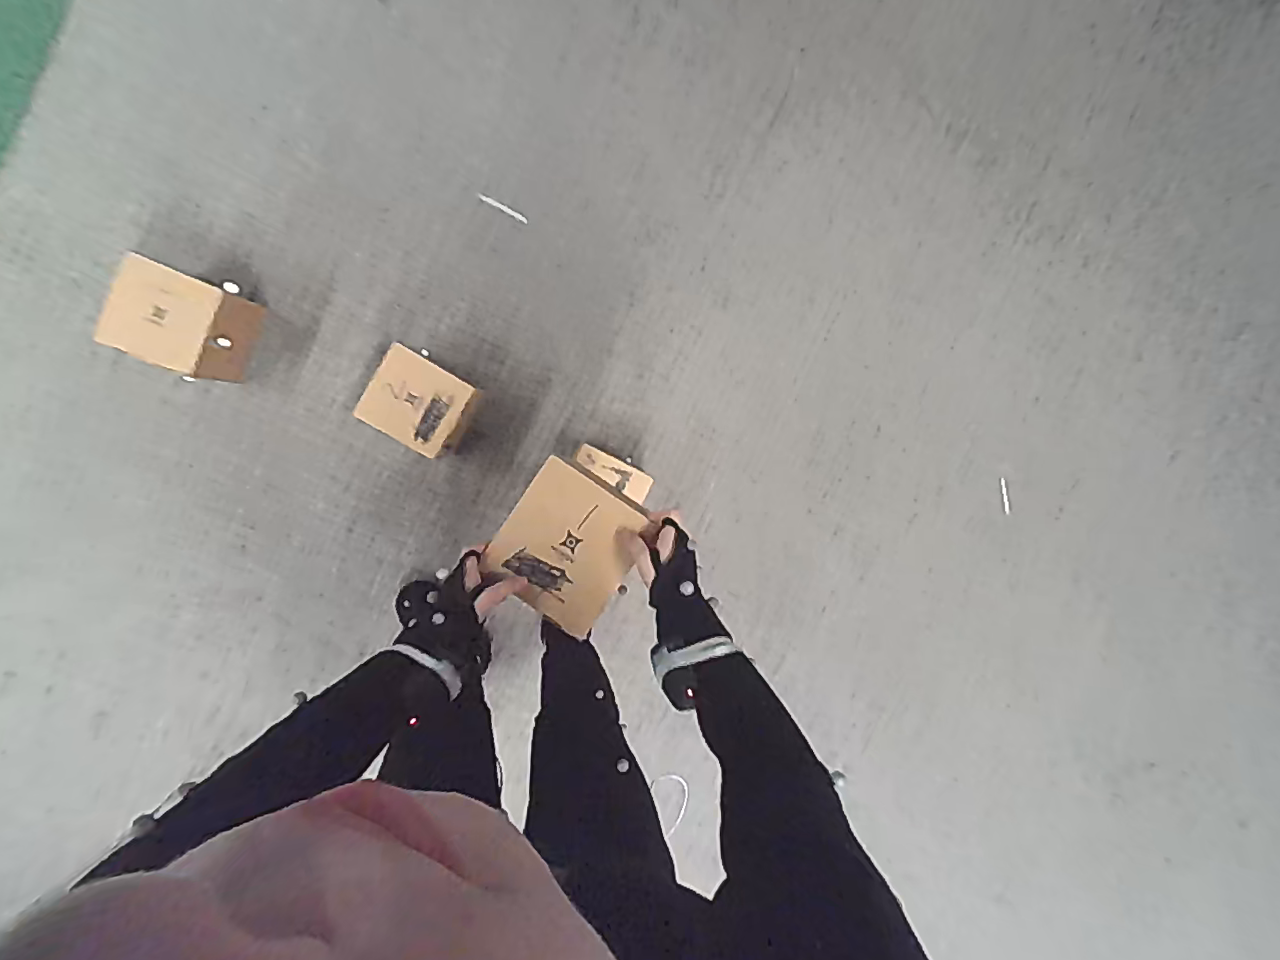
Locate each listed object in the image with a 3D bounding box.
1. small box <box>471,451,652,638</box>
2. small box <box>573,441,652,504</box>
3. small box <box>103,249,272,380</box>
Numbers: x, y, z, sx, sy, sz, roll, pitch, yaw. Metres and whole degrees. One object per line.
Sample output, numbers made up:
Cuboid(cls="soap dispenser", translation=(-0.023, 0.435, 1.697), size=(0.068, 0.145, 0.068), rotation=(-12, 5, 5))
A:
Cuboid(cls="small box", translation=(-0.093, 0.081, 0.744), size=(0.168, 0.176, 0.179), rotation=(34, 90, 2))
Cuboid(cls="small box", translation=(-0.092, 0.027, 1.189), size=(0.168, 0.176, 0.179), rotation=(28, 92, -9))
Cuboid(cls="small box", translation=(-0.869, -0.310, 1.060), size=(0.168, 0.176, 0.179), rotation=(24, 92, -10))
